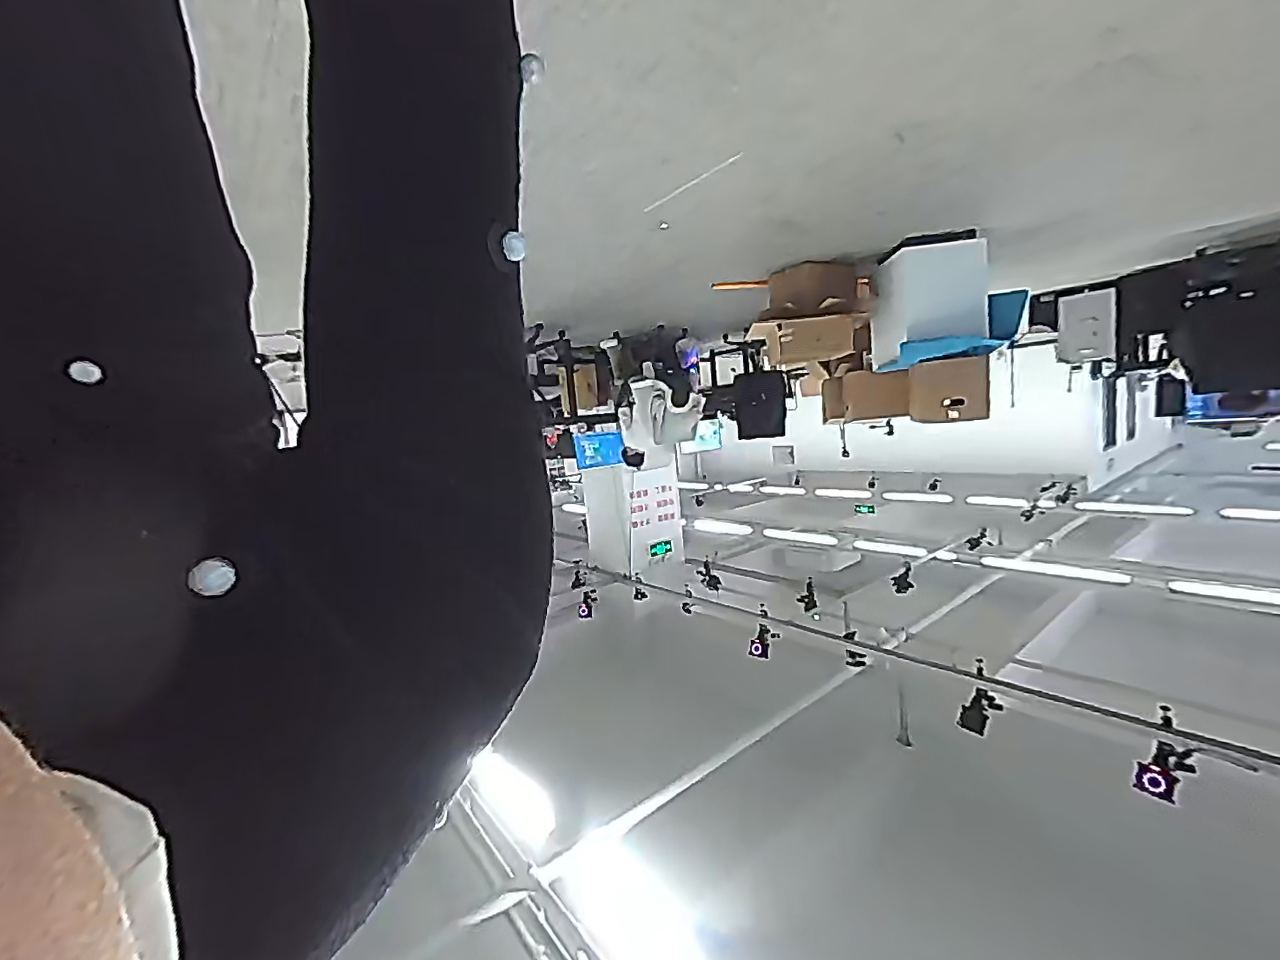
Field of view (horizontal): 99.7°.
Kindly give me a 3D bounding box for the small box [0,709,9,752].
[{"bbox_3d":[-2.117,0.796,1.668,0.179,0.176,0.168,-12,-170,-37],"label":"small box"}]
